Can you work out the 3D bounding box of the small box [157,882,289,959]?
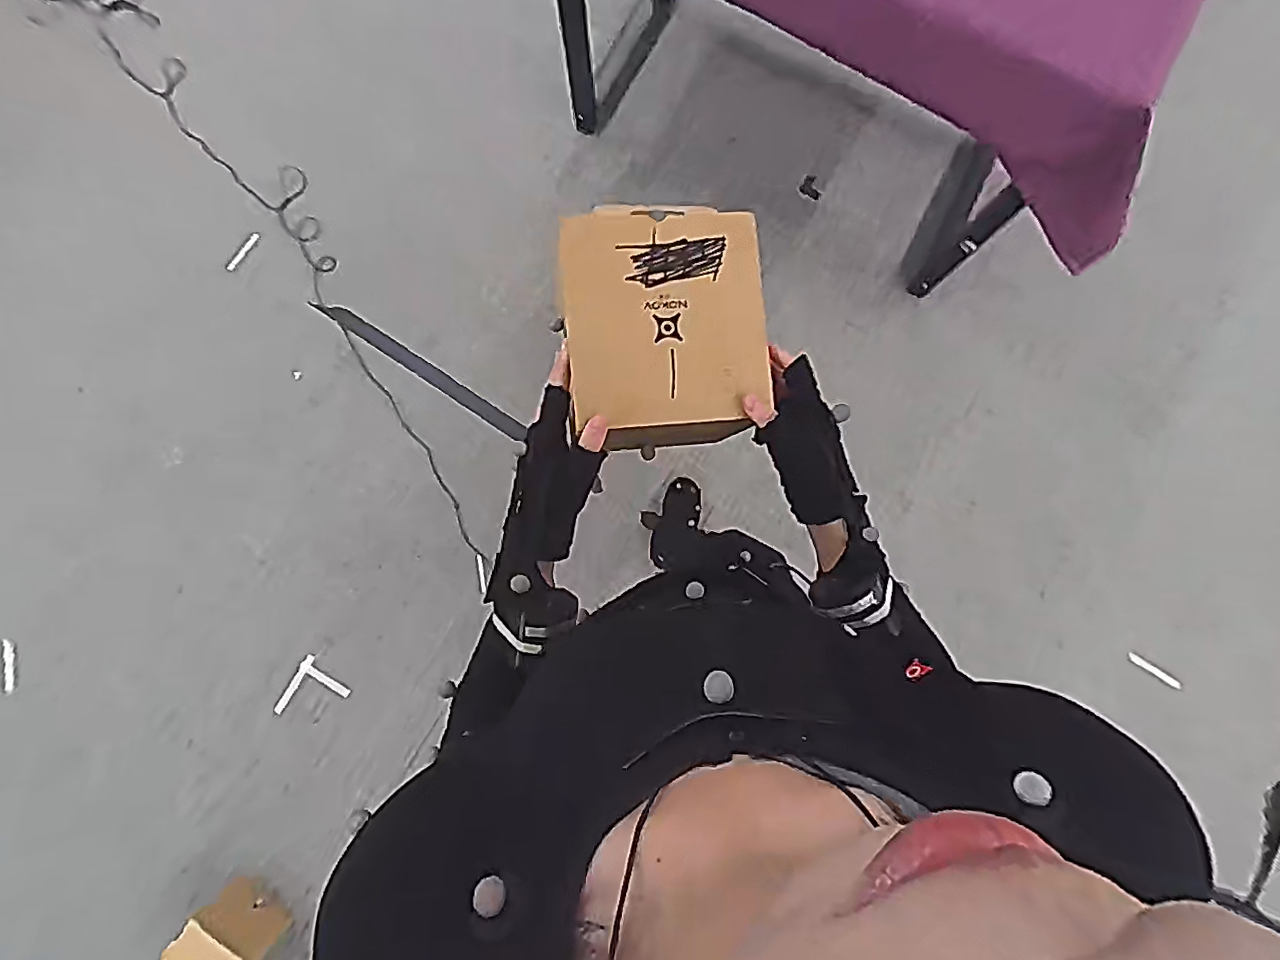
[{"bbox_3d":[-1.024,1.139,1.324,0.179,0.176,0.168,35,84,5],"label":"small box"}]
